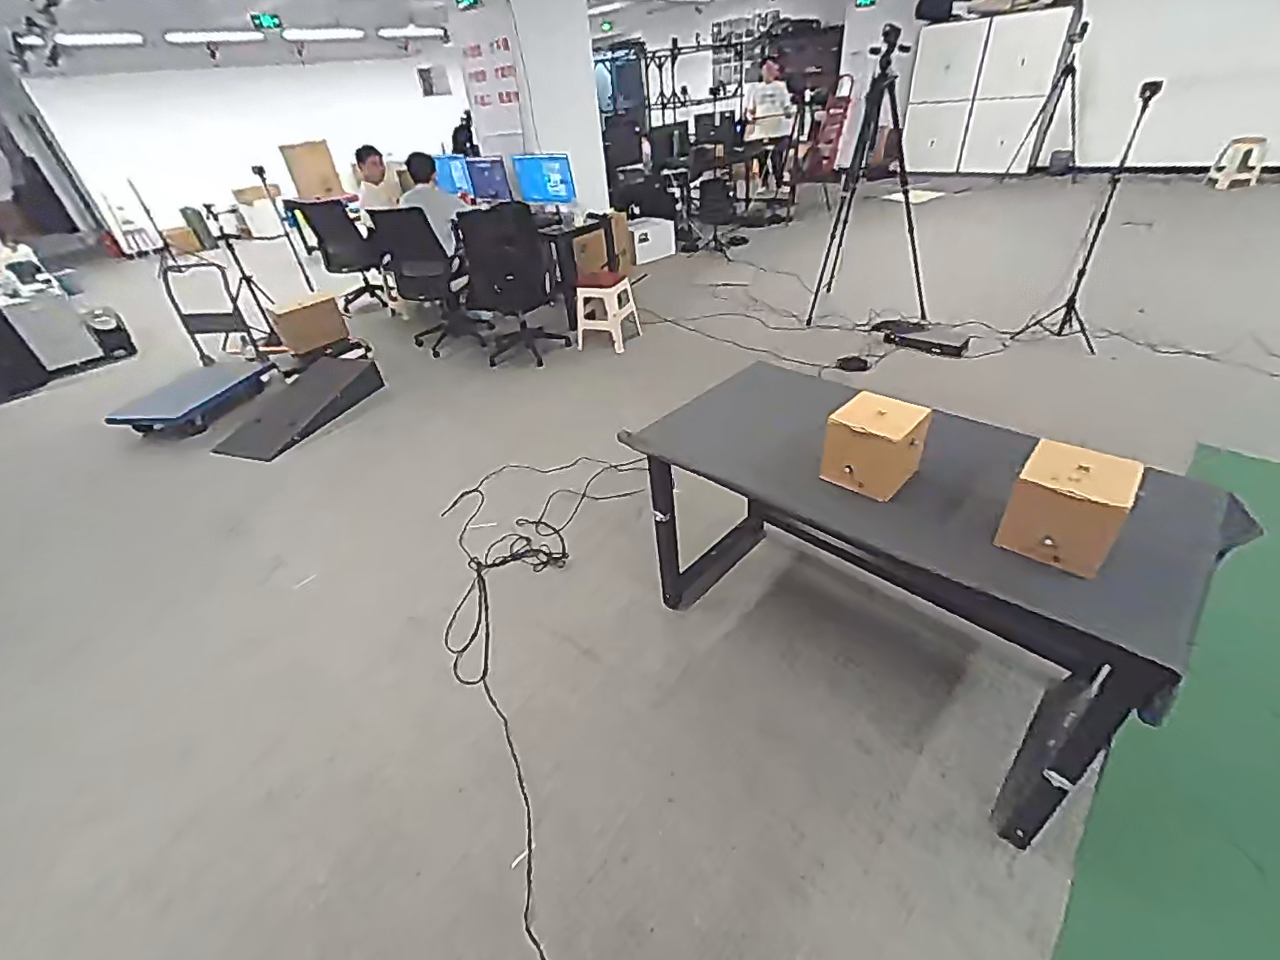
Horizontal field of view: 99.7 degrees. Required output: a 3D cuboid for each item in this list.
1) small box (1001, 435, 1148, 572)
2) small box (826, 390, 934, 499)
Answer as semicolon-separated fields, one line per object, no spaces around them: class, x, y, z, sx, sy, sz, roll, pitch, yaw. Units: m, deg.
small box;0.824;0.041;1.037;0.168;0.176;0.179;24;46;38
small box;0.555;-0.086;1.269;0.168;0.176;0.179;26;47;38
